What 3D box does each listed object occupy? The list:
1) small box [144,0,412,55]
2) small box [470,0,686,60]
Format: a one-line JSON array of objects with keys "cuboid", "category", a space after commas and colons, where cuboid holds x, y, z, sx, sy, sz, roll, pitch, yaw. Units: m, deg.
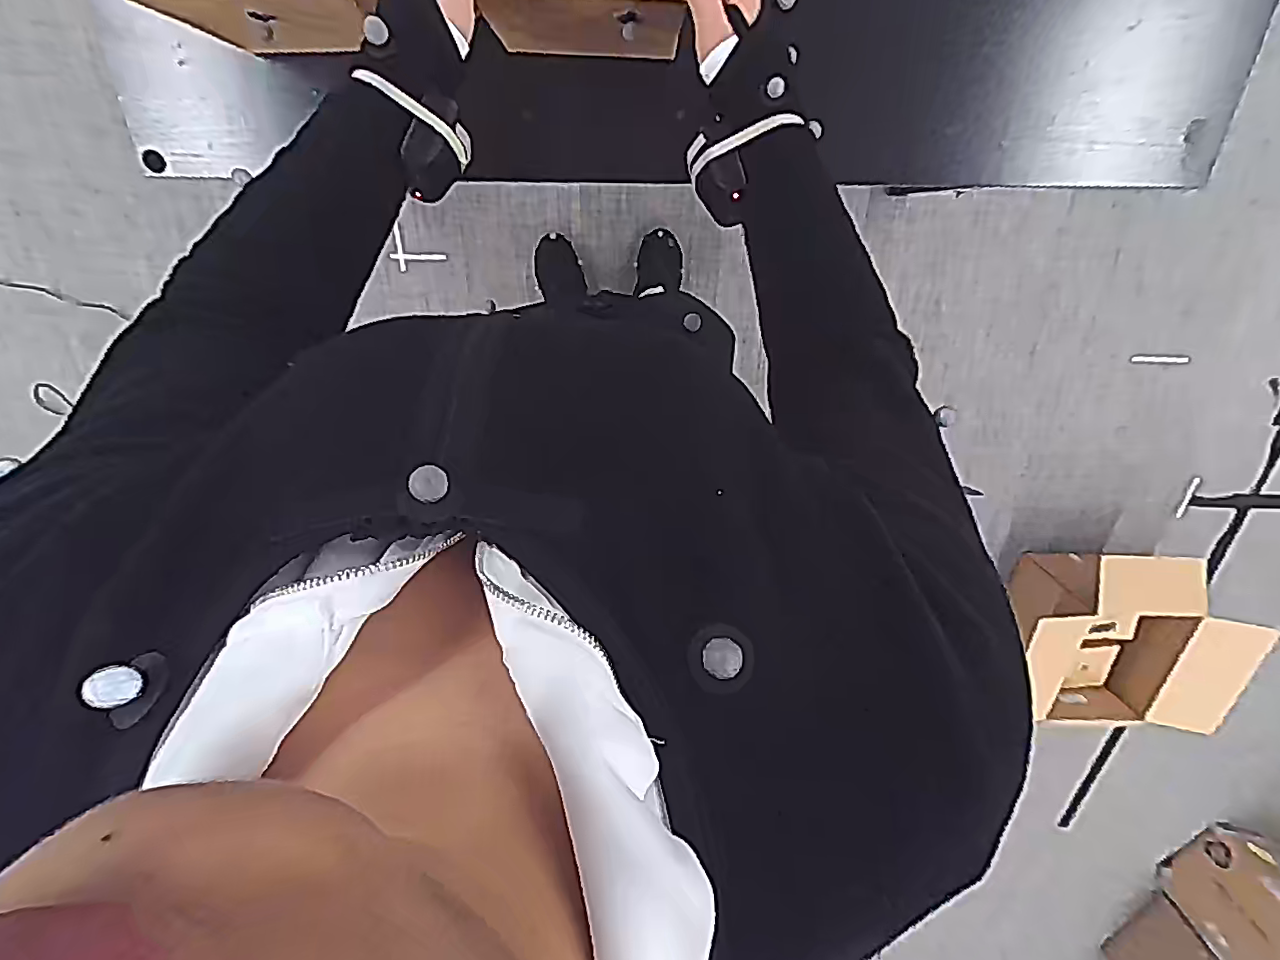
[{"cuboid": [-0.322, -0.482, 0.456, 0.179, 0.176, 0.168, -2, 115, 0], "category": "small box"}, {"cuboid": [-0.049, -0.482, 0.460, 0.179, 0.176, 0.168, 2, 115, -1], "category": "small box"}]
